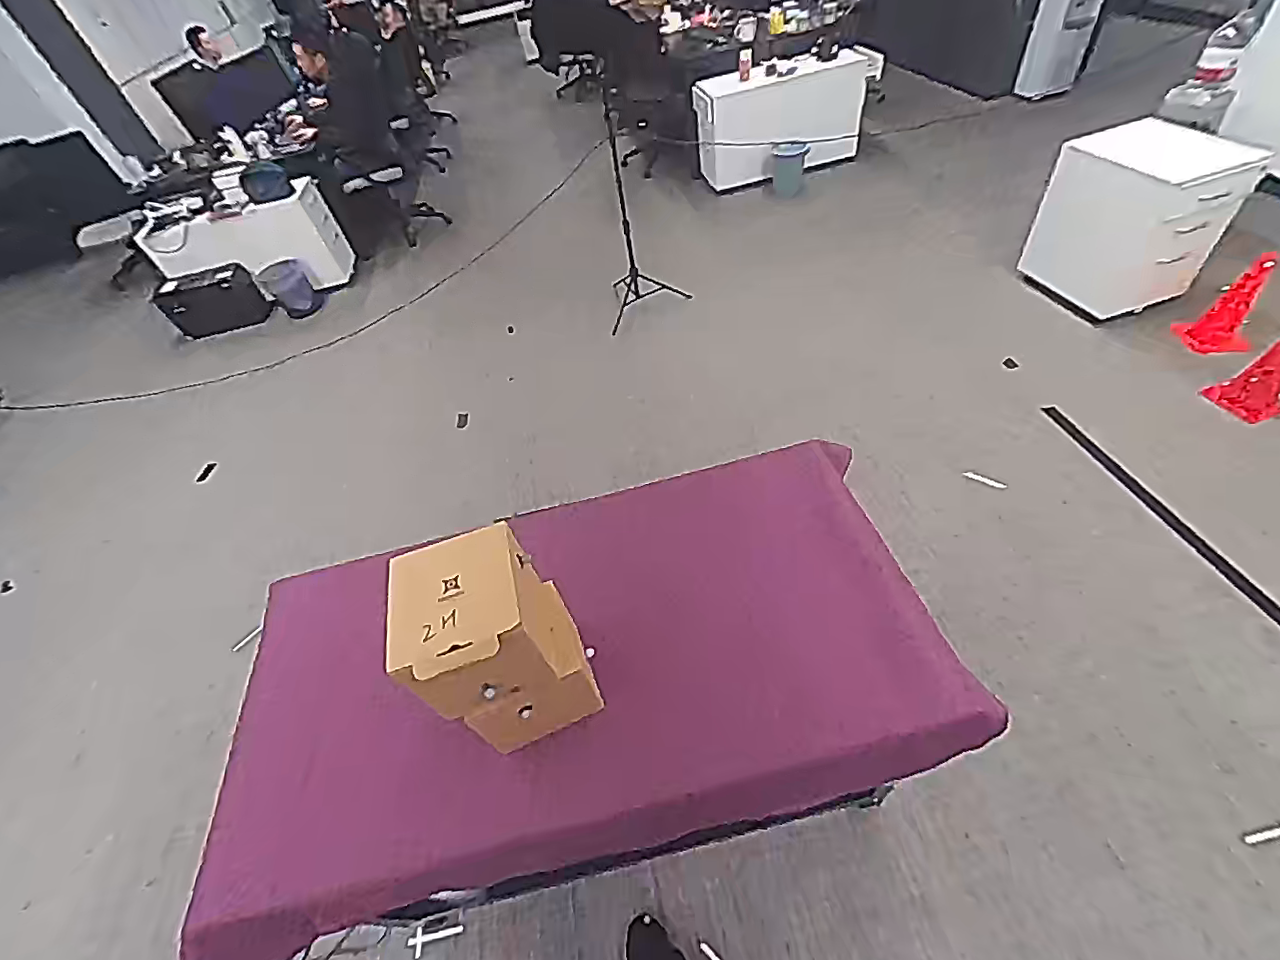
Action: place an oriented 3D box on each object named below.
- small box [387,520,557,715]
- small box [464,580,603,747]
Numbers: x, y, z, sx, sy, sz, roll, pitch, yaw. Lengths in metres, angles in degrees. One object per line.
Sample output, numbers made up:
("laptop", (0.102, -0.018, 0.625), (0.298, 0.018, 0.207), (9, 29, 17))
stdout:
("small box", (-0.225, 0.191, 0.747), (0.168, 0.176, 0.179), (-19, 48, -4))
("small box", (-0.177, 0.297, 0.866), (0.179, 0.176, 0.168), (-22, 49, -8))
